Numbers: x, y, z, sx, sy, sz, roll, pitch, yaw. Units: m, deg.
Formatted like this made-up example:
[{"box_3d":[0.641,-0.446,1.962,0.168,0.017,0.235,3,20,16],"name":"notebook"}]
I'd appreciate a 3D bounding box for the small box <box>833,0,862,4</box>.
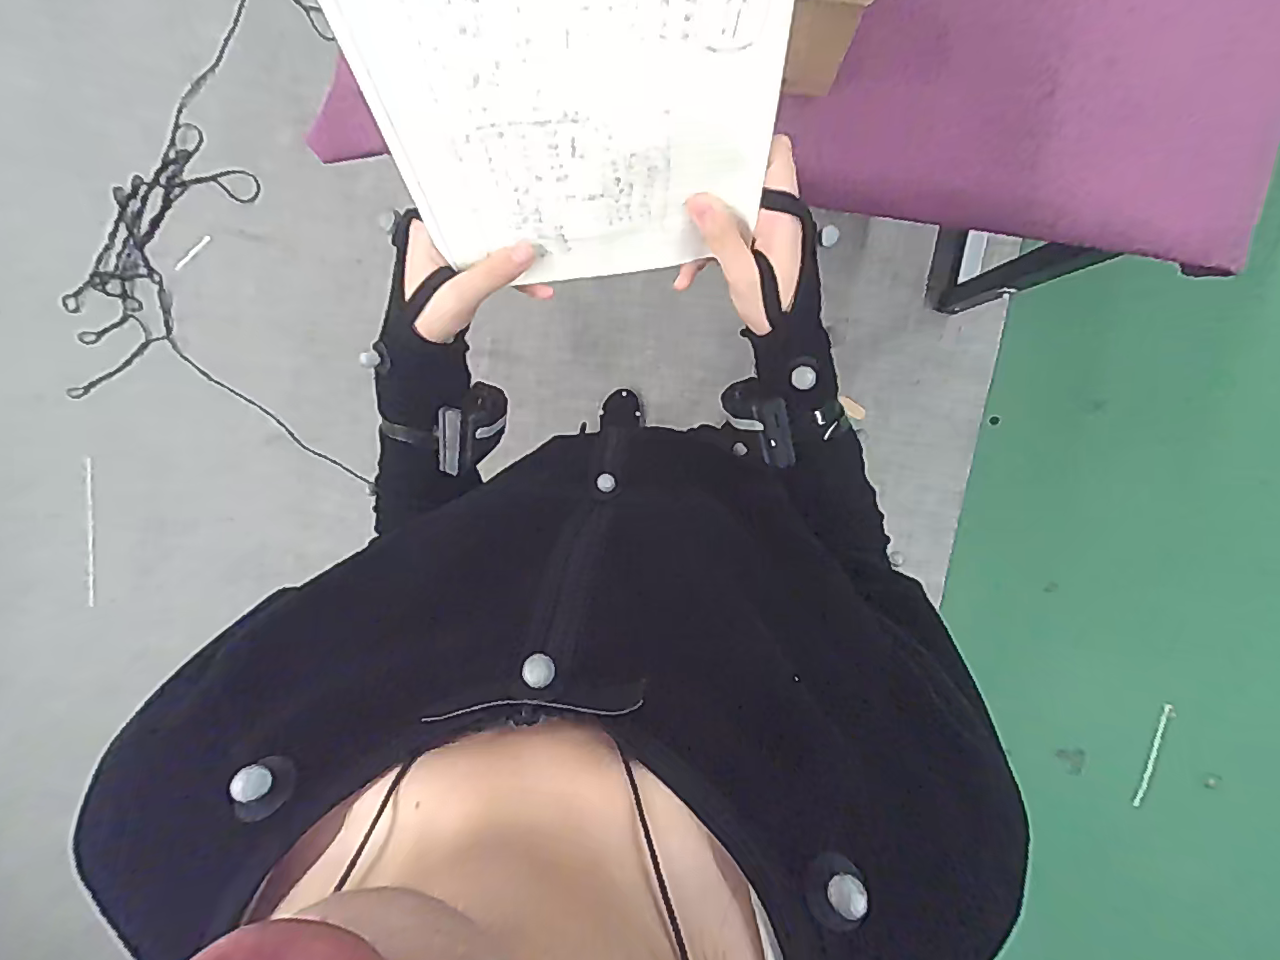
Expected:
[{"box_3d":[0.157,-0.556,0.451,0.168,0.176,0.179,10,96,2],"name":"small box"}]
